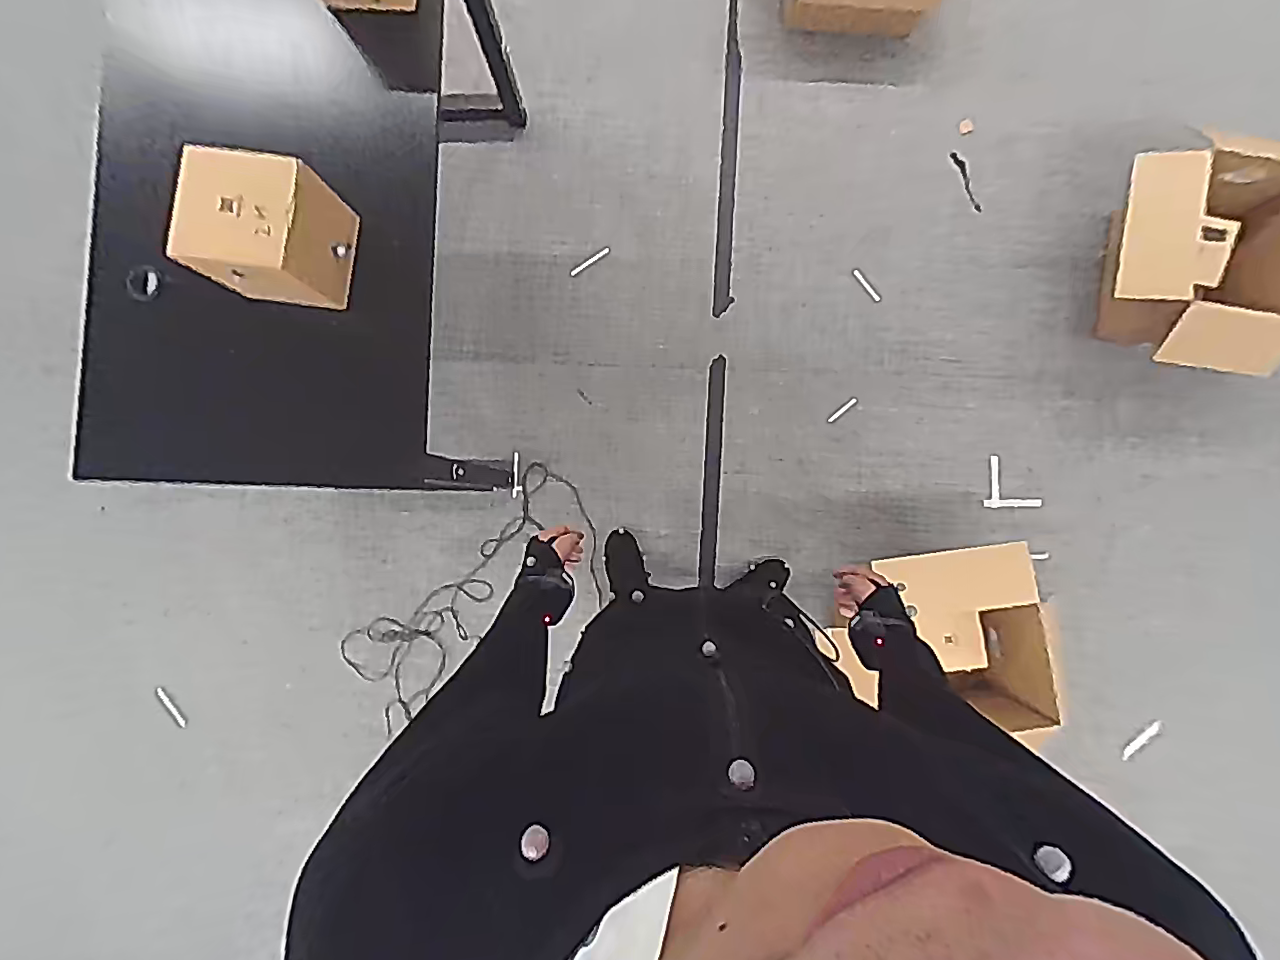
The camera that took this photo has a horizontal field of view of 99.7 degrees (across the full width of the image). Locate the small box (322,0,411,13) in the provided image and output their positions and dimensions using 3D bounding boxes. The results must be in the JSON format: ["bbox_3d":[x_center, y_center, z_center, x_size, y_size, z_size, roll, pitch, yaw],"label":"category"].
[{"bbox_3d":[-0.481,-0.918,0.876,0.168,0.176,0.179,3,89,2],"label":"small box"}]

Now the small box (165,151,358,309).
[{"bbox_3d":[-0.588,-0.385,0.860,0.179,0.176,0.168,7,88,1],"label":"small box"}]
